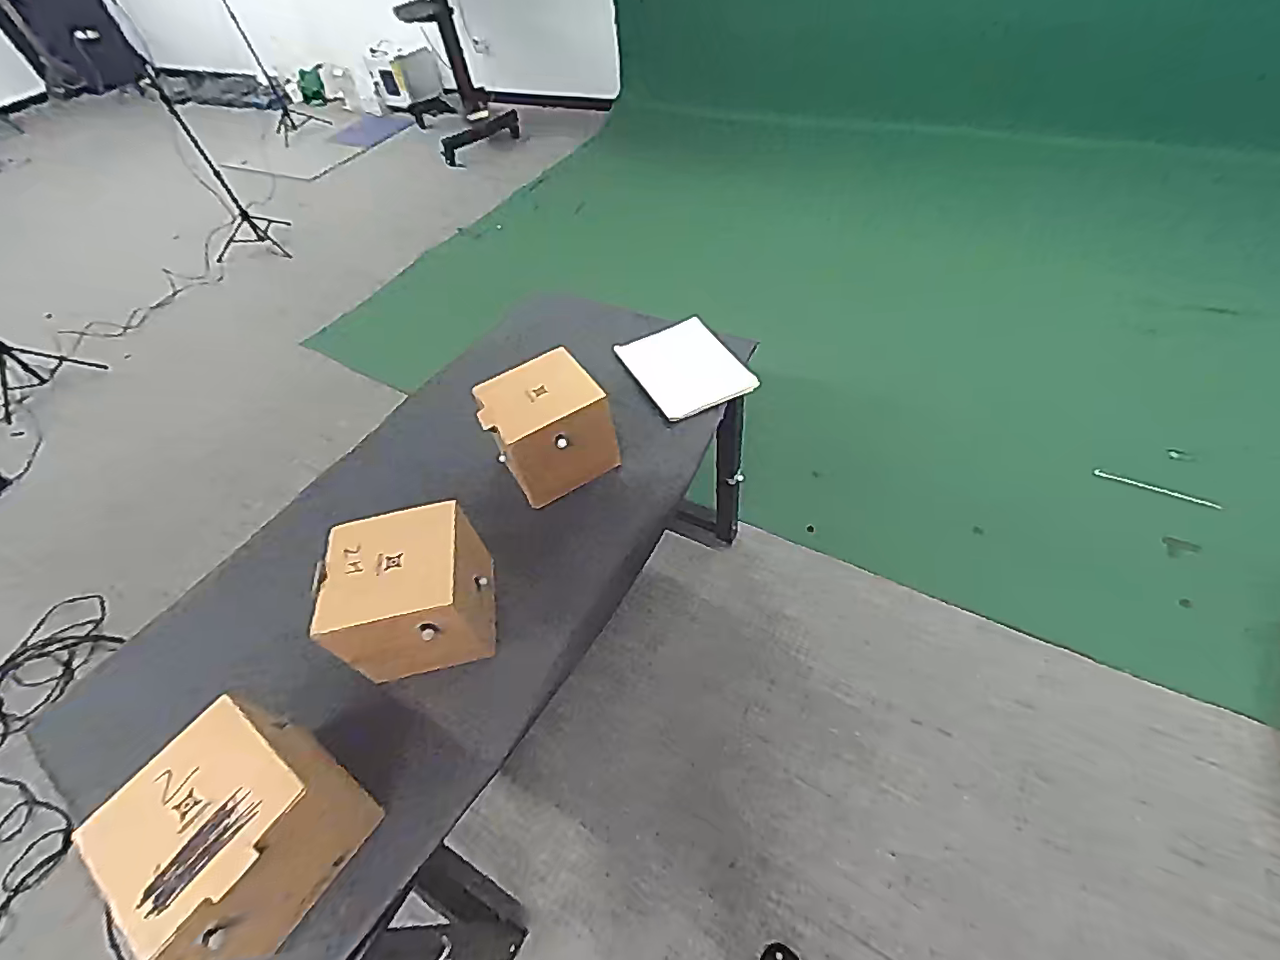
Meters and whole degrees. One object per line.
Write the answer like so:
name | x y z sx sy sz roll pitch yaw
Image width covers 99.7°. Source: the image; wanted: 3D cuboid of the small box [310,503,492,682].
small box | -0.313 0.160 0.755 0.179 0.176 0.168 -13 50 -2

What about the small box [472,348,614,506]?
small box | -0.157 -0.089 0.934 0.179 0.176 0.168 -29 53 -14
